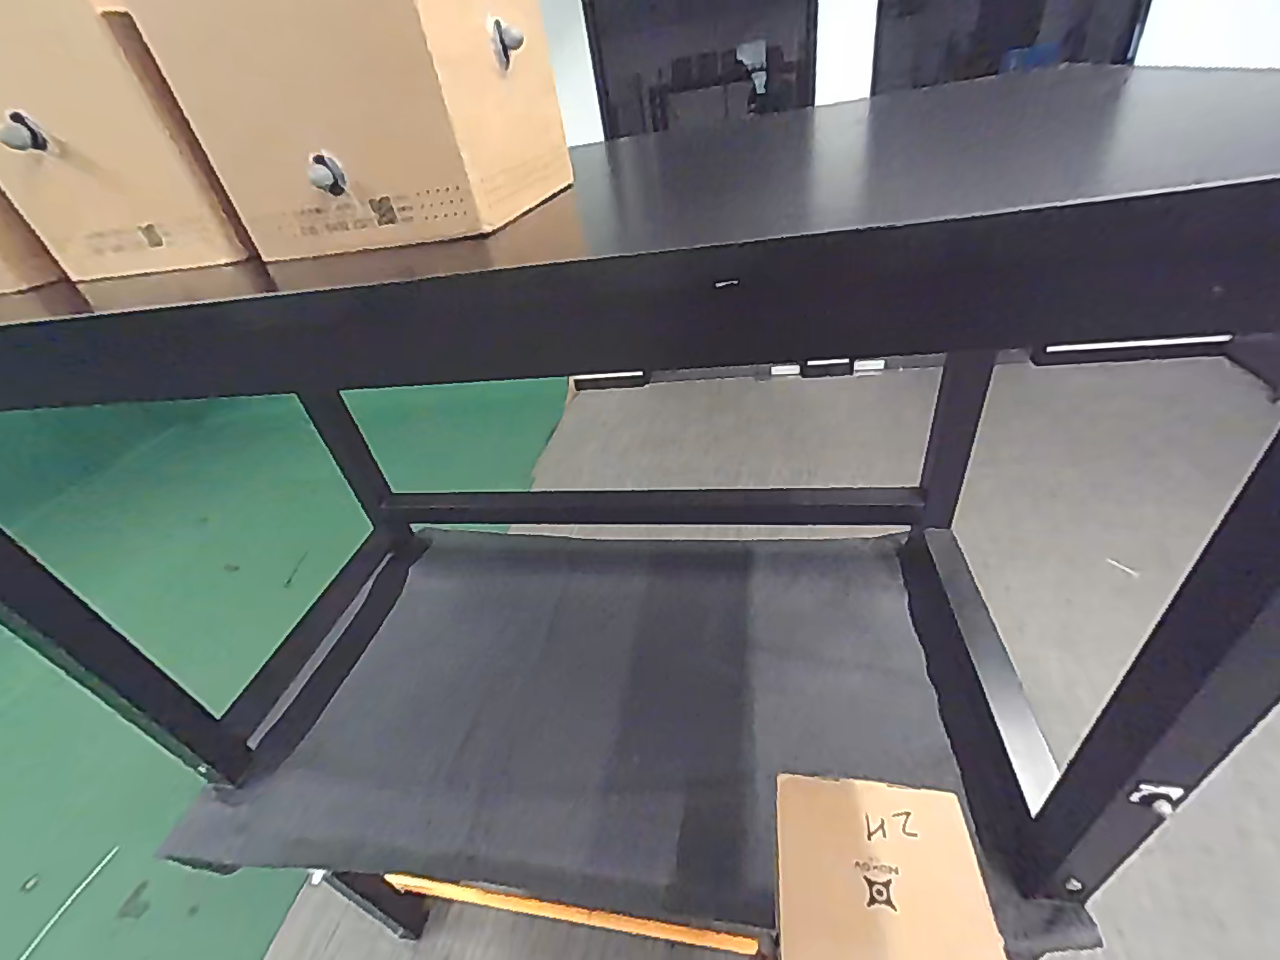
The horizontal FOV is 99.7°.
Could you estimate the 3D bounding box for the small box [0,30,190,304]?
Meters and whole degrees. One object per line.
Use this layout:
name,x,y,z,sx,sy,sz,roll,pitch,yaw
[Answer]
small box,-0.539,-0.257,0.455,0.168,0.176,0.179,0,38,14
